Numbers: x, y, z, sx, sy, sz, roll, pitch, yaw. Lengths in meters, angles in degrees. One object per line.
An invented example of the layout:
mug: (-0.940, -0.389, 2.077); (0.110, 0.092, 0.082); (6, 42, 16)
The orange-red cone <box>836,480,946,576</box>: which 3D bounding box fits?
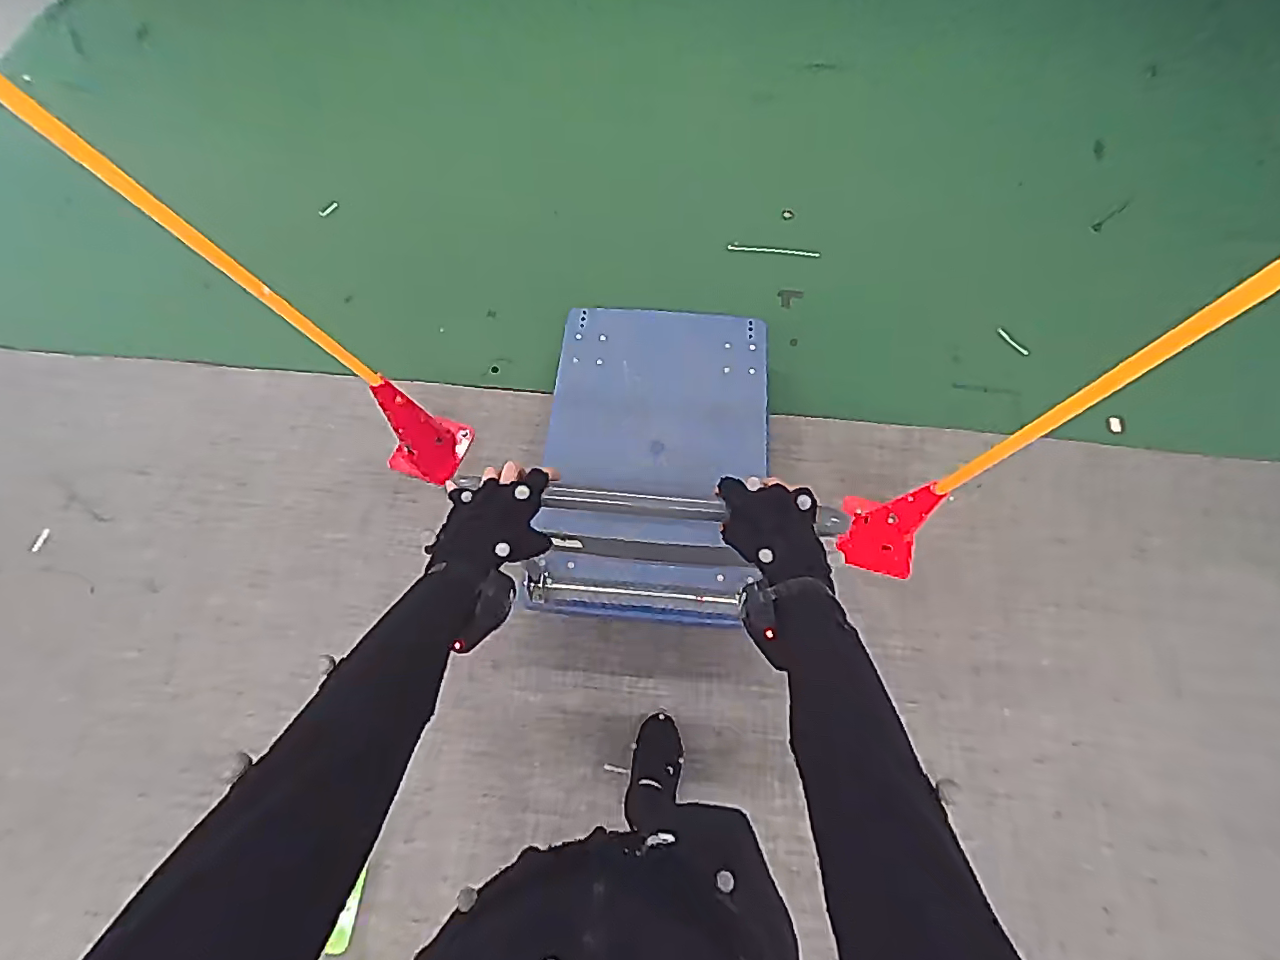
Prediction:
orange-red cone: (0.644, 0.085, 1.320); (0.198, 0.360, 0.199); (16, 69, 8)
